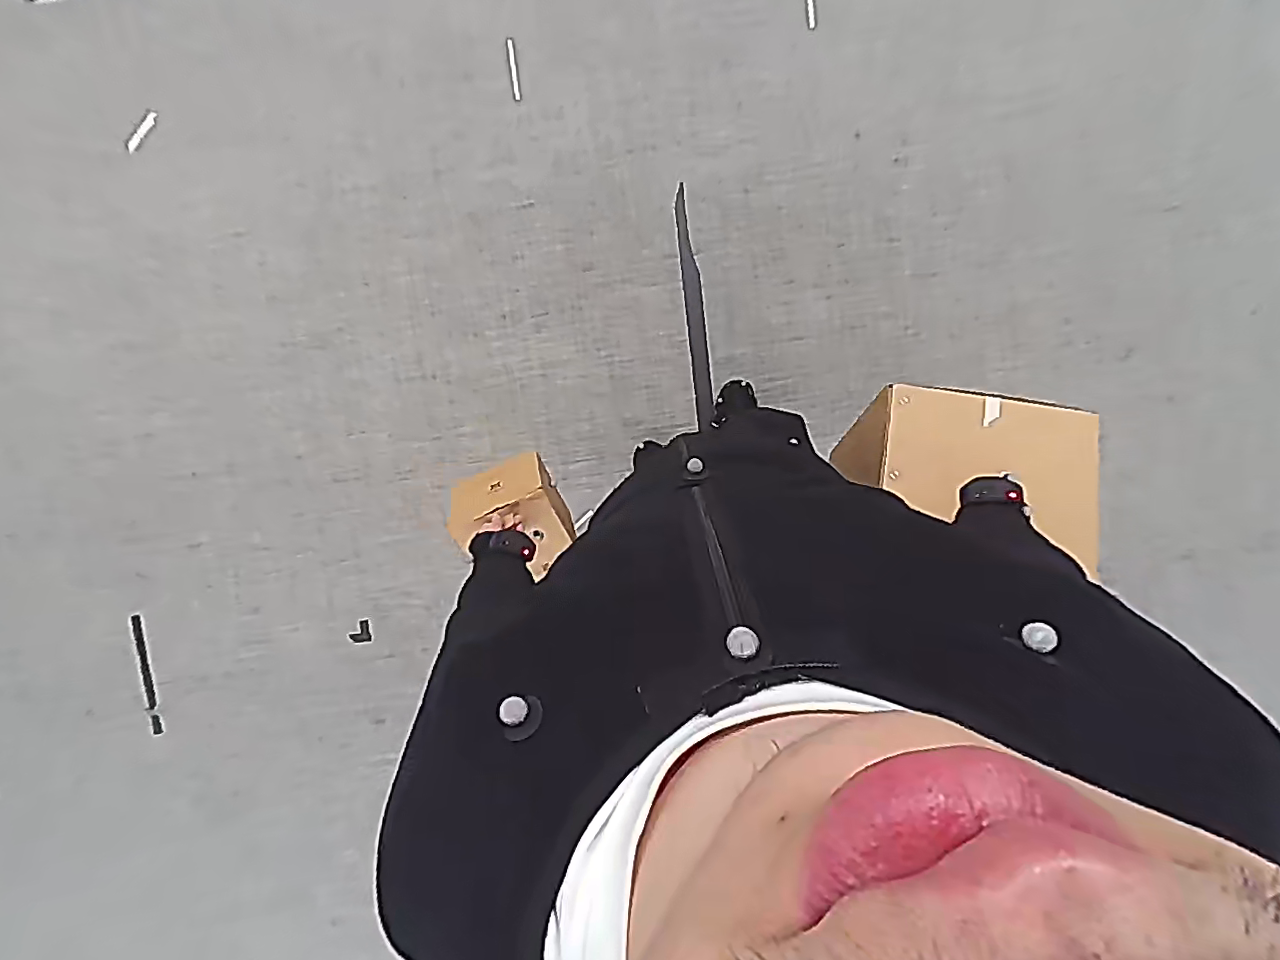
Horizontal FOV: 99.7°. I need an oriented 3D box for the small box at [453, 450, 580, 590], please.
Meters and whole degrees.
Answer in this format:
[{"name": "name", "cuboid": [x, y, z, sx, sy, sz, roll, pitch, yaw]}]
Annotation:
[{"name": "small box", "cuboid": [-0.221, 0.077, 0.987, 0.168, 0.179, 0.176, -25, 117, -3]}]
